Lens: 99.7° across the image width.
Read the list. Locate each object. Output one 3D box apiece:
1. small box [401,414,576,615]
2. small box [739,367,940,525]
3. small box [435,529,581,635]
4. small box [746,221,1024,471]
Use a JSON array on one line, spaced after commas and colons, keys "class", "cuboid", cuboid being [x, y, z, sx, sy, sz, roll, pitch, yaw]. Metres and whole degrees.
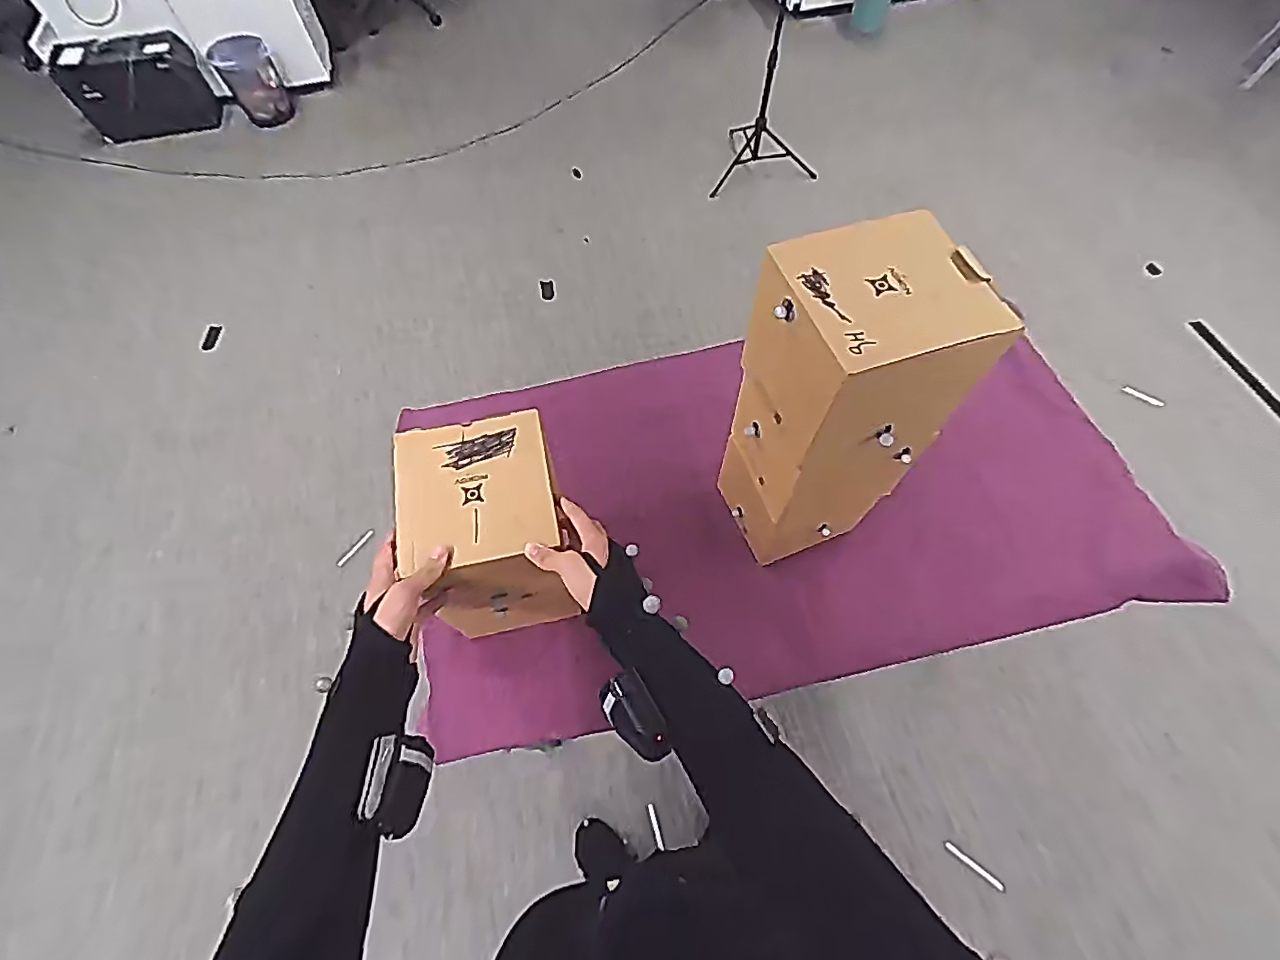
[{"class": "small box", "cuboid": [-0.176, 0.047, 0.655, 0.168, 0.176, 0.179, -11, 64, -6]}, {"class": "small box", "cuboid": [0.240, -0.059, 0.710, 0.179, 0.176, 0.168, -15, 63, -7]}, {"class": "small box", "cuboid": [-0.191, 0.120, 0.802, 0.179, 0.176, 0.168, -10, 63, -6]}, {"class": "small box", "cuboid": [0.230, -0.132, 0.563, 0.179, 0.176, 0.168, -15, 62, -8]}]
